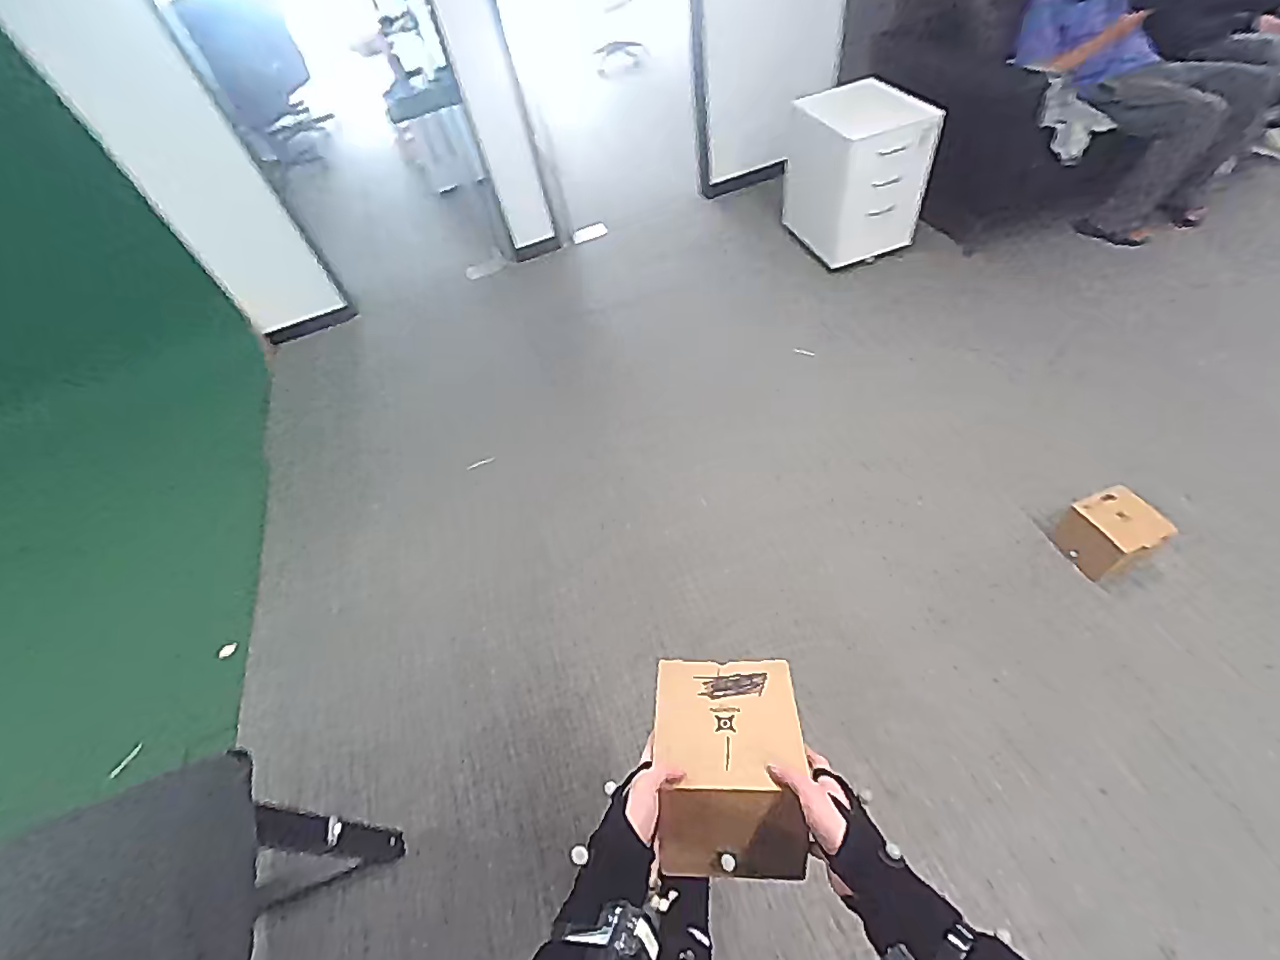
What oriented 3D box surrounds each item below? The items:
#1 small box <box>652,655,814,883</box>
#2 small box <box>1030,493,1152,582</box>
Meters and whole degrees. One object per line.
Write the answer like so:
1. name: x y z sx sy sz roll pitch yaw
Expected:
1. small box: 0.111 0.341 0.656 0.168 0.176 0.179 -1 28 10
2. small box: 1.291 0.175 1.563 0.168 0.176 0.179 -22 52 -8
